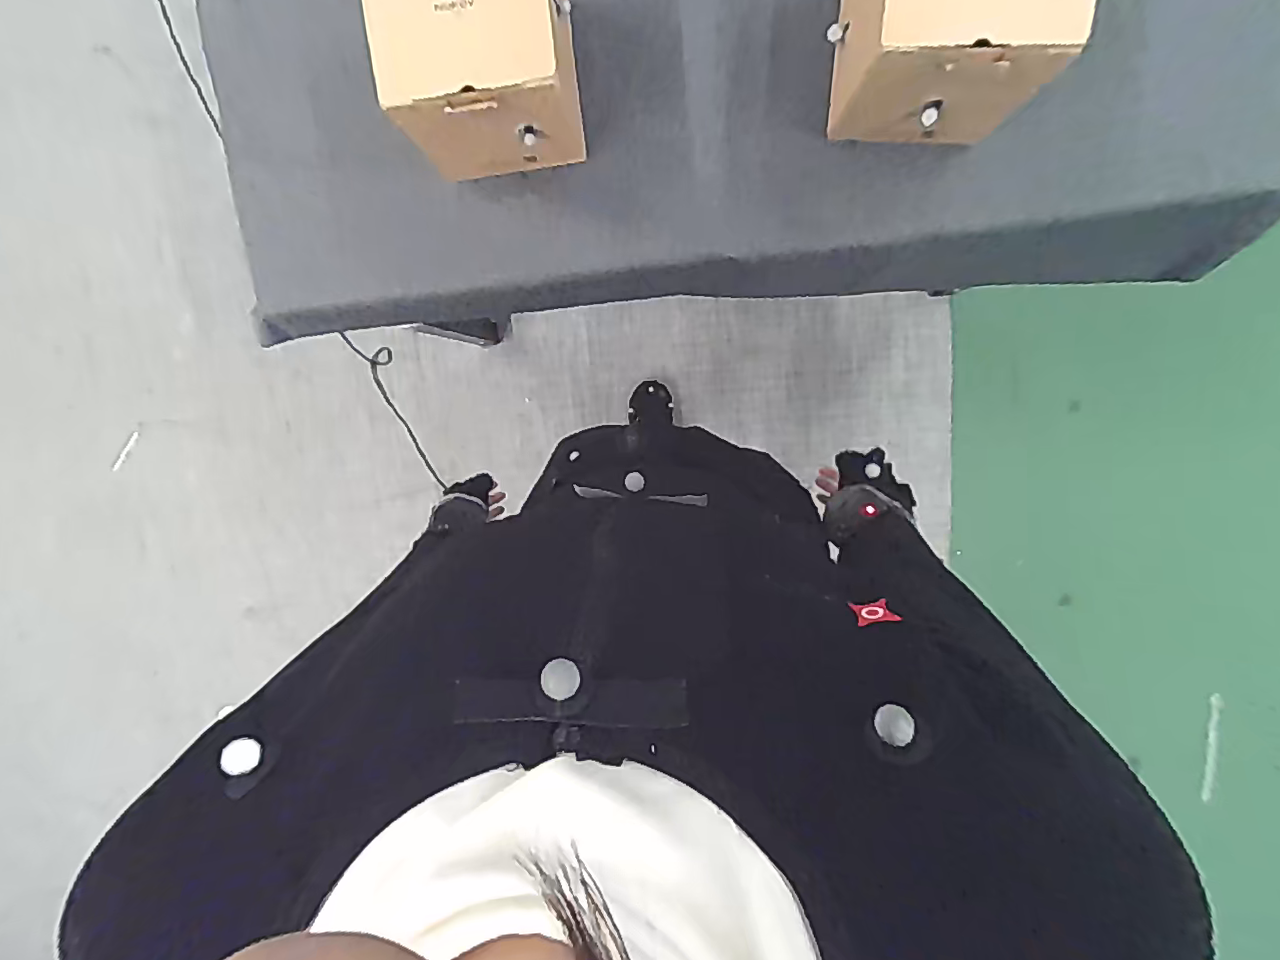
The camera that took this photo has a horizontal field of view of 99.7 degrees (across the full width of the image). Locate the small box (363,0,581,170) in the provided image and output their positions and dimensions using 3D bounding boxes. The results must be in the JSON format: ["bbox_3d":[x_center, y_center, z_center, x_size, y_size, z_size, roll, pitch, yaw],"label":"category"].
[{"bbox_3d":[-0.161,-0.445,0.556,0.168,0.176,0.179,-6,97,4],"label":"small box"}]

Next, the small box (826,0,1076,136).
[{"bbox_3d":[0.286,-0.457,0.518,0.168,0.176,0.179,4,100,4],"label":"small box"}]
